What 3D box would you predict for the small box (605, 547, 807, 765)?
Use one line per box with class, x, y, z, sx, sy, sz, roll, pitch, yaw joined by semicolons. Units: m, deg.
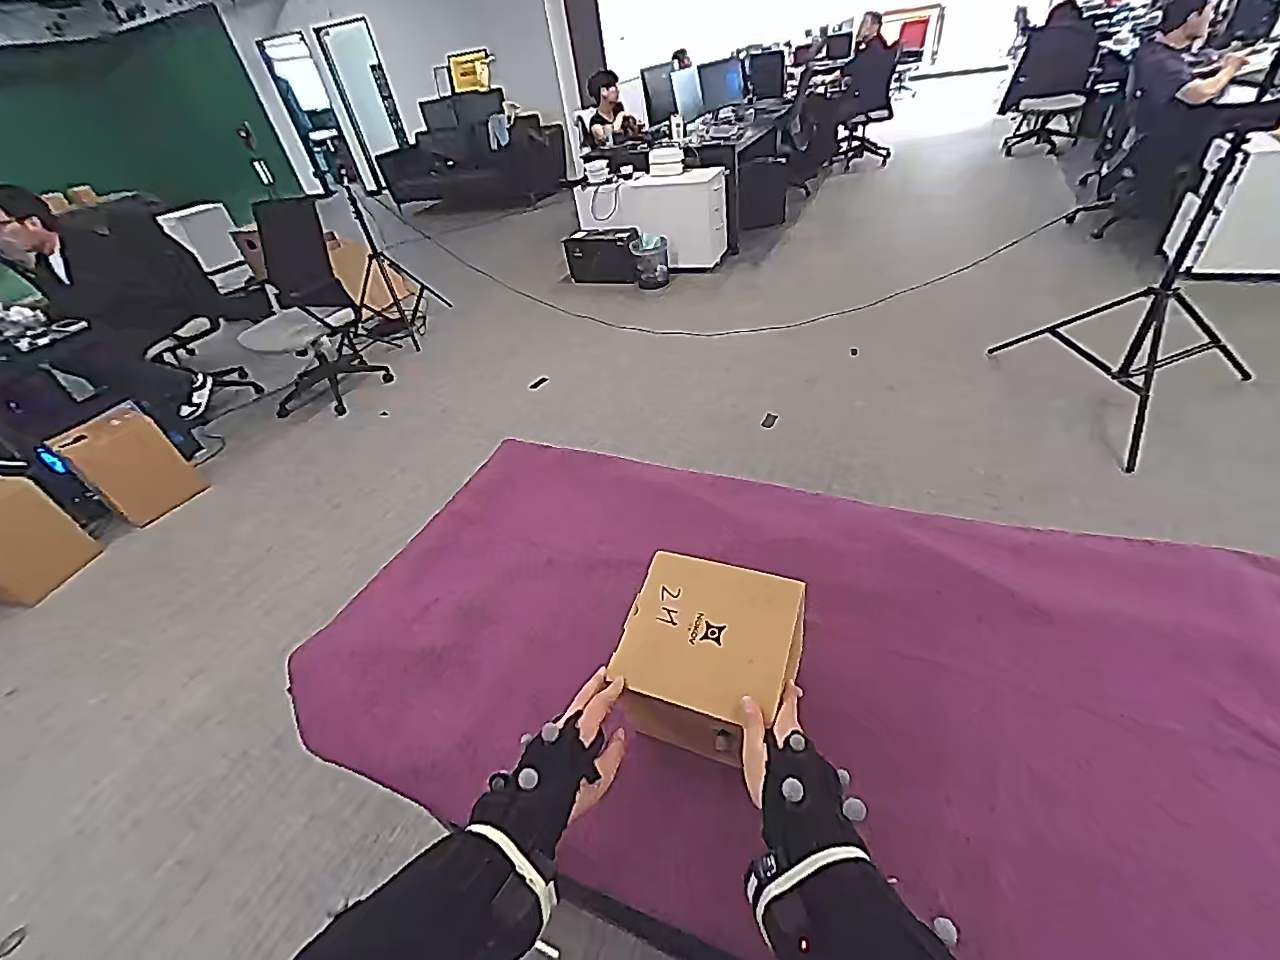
small box;0.086;0.205;0.624;0.179;0.176;0.168;9;52;23
